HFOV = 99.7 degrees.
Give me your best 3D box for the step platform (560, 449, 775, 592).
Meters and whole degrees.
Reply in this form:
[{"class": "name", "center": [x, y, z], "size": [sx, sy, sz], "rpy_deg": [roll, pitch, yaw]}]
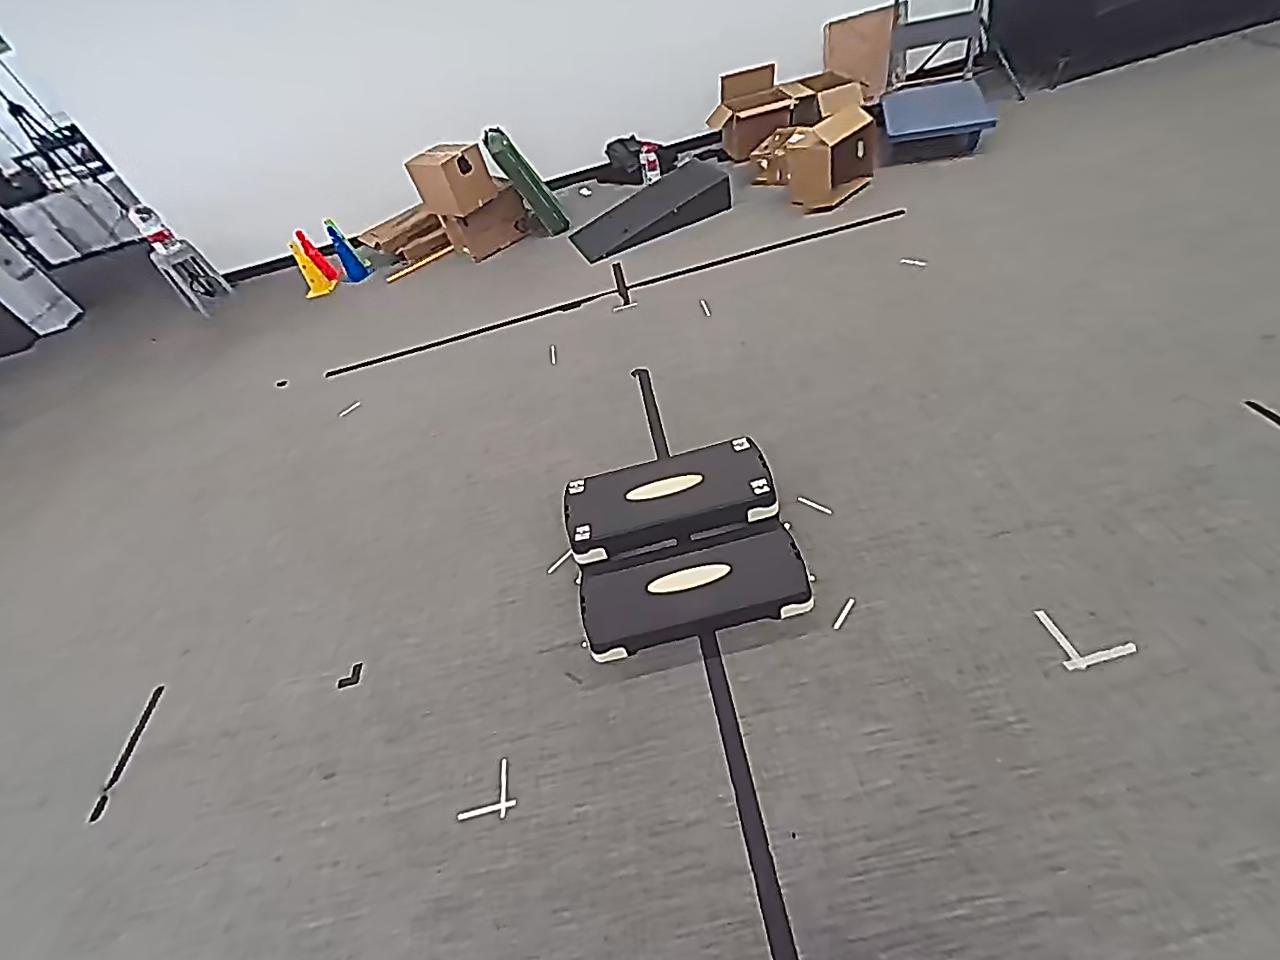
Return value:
[{"class": "step platform", "center": [0.083, 0.126, 1.769], "size": [0.684, 0.204, 0.286], "rpy_deg": [-15, 46, 1]}]
